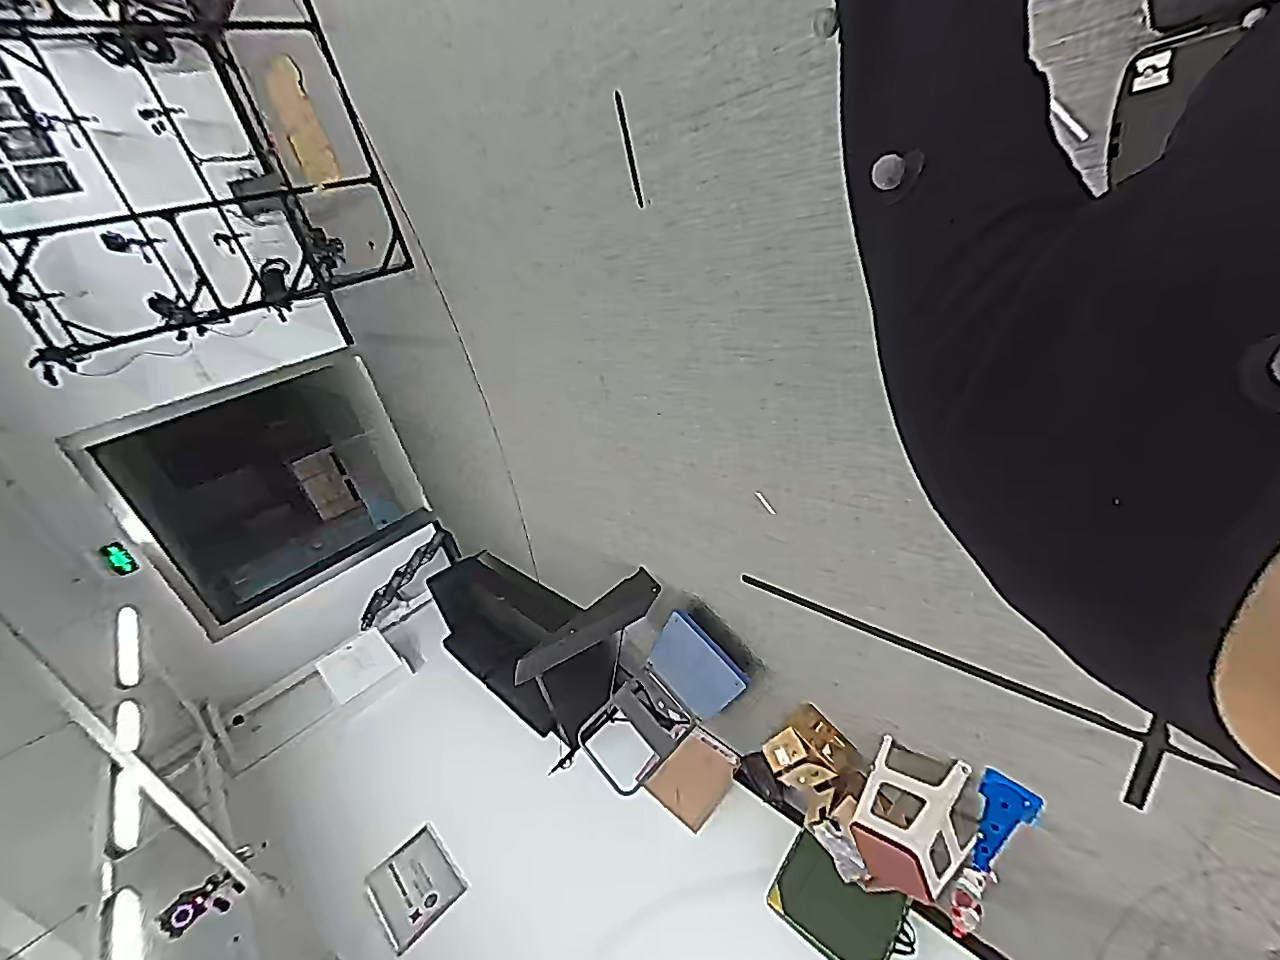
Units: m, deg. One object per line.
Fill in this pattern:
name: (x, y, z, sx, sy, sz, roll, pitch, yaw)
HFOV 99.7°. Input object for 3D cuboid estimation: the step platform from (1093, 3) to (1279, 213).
step platform: (1.167, -0.642, 0.860, 0.684, 0.204, 0.286, 15, 129, 48)
